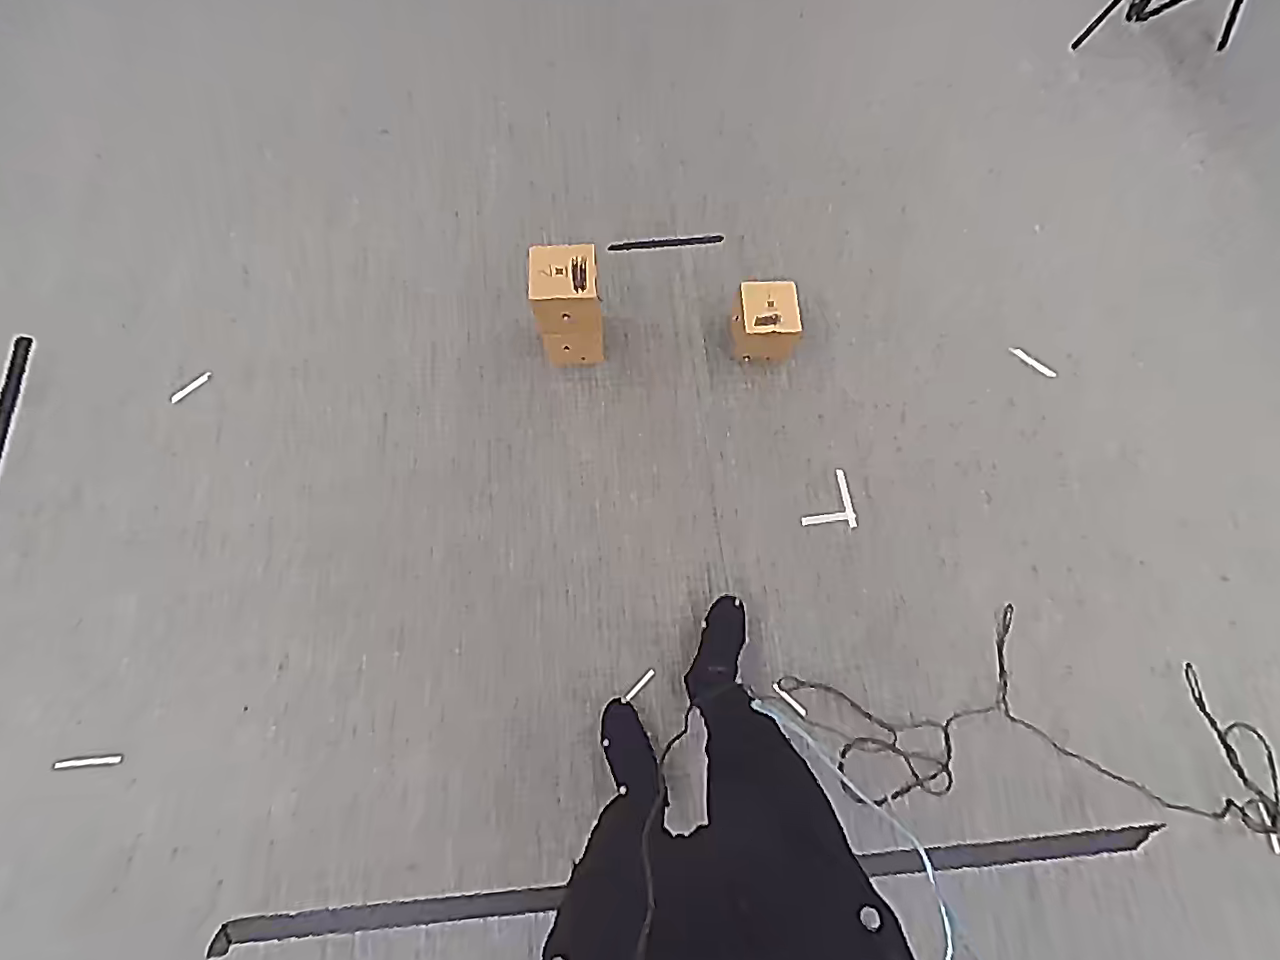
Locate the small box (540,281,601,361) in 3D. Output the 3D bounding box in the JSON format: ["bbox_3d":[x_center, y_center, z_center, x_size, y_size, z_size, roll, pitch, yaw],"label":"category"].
[{"bbox_3d":[-0.205,-0.468,1.623,0.168,0.176,0.179,-3,73,-2],"label":"small box"}]

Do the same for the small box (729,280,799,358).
[{"bbox_3d":[0.369,-0.482,1.638,0.168,0.176,0.179,-1,73,-2],"label":"small box"}]
